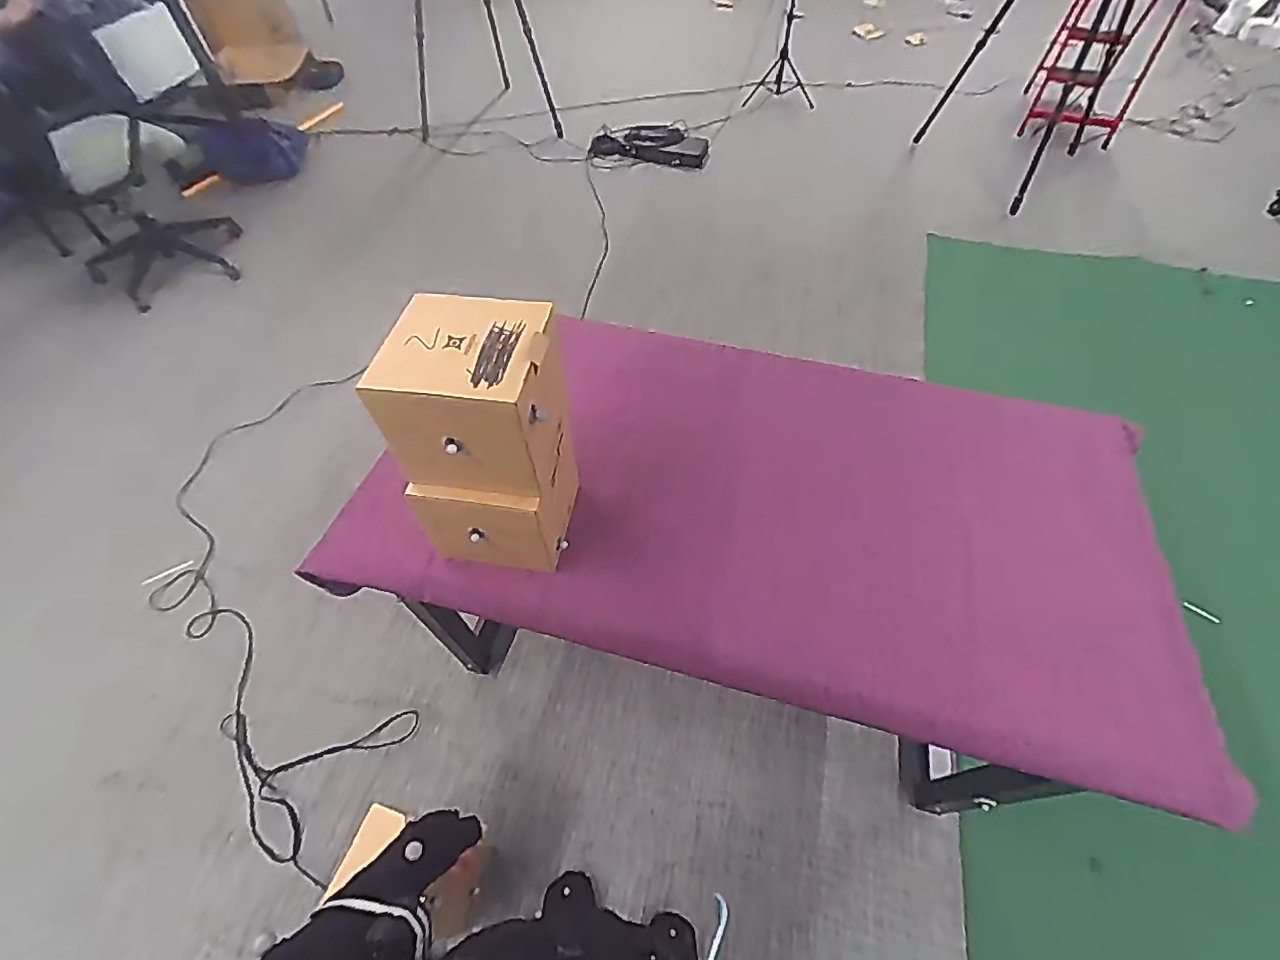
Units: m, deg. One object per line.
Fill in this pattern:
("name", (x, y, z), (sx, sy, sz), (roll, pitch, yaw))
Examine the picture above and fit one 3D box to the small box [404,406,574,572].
("small box", (-0.201, 0.019, 0.785), (0.179, 0.176, 0.168), (8, 54, 6))
